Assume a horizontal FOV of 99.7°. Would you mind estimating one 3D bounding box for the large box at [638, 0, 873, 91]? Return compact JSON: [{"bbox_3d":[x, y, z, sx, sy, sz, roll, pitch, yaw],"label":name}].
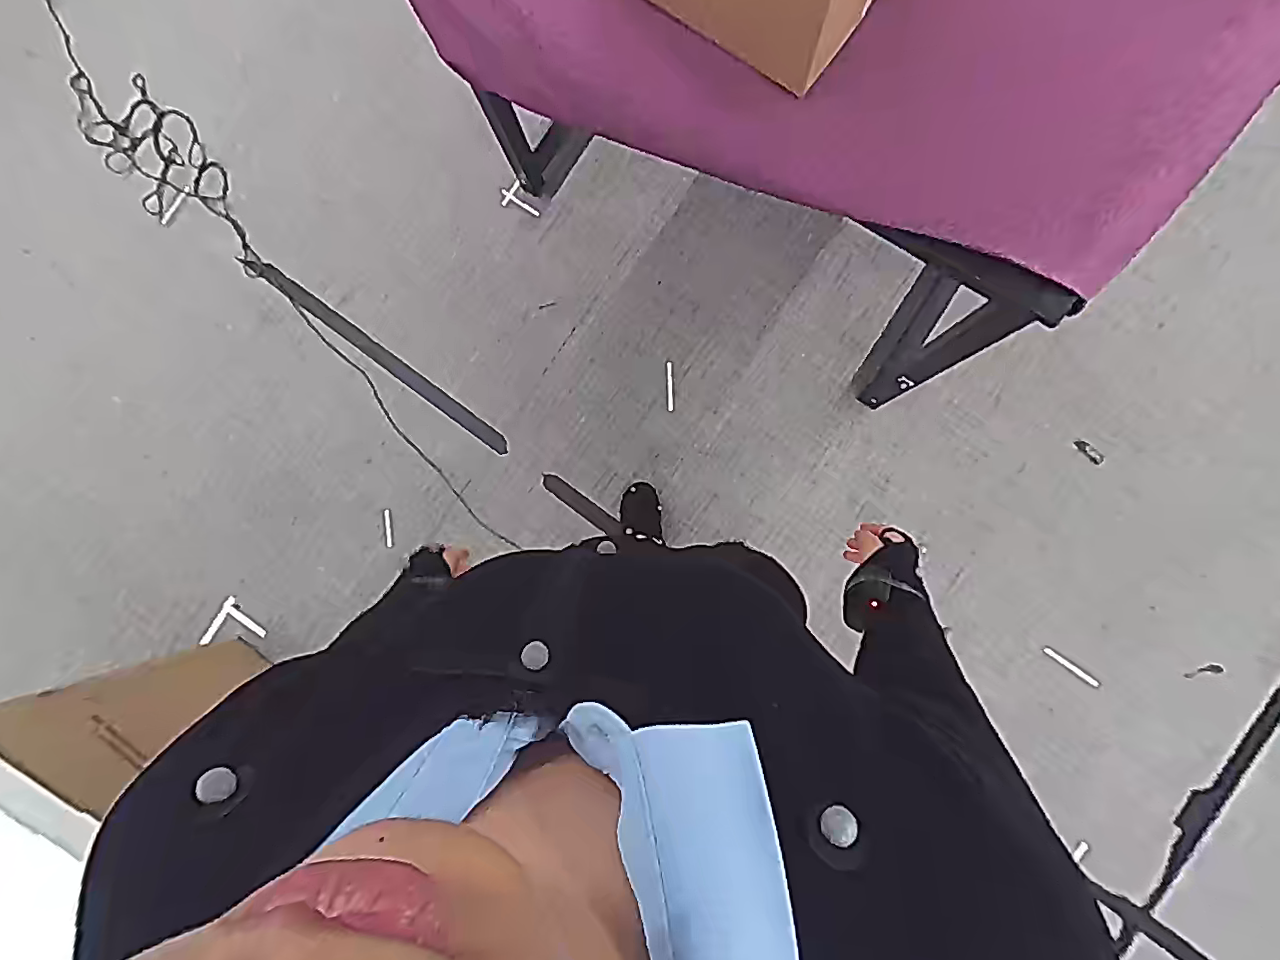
[{"bbox_3d":[0.154,-0.794,0.651,0.408,0.320,0.320,36,88,7],"label":"large box"}]
